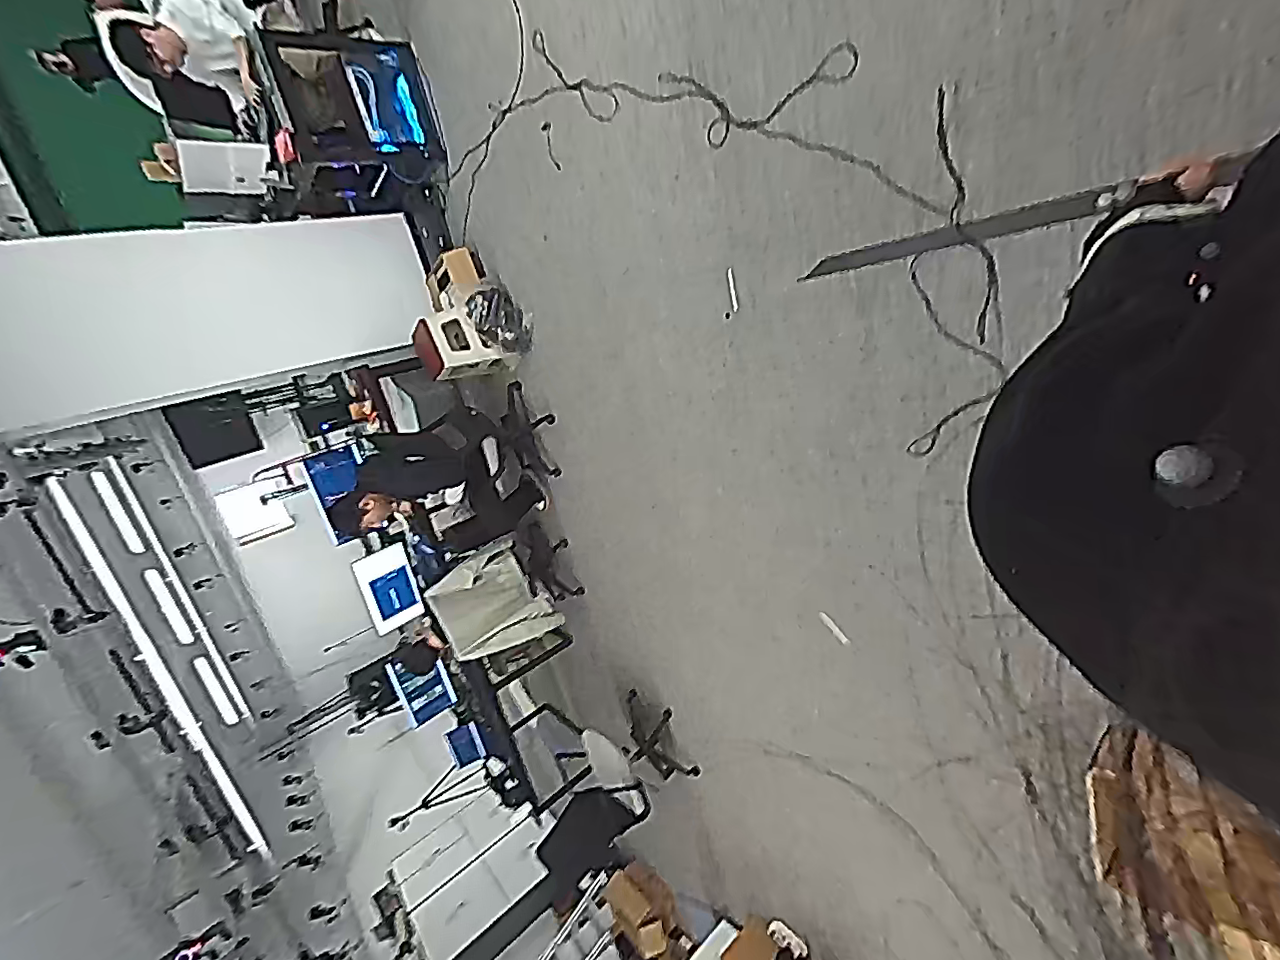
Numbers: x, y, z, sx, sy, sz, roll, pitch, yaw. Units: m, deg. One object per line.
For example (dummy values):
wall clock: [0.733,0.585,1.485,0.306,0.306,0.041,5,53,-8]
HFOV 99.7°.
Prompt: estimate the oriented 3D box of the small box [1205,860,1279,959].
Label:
small box: [1.267,0.928,1.083,0.168,0.176,0.179,1,112,53]
